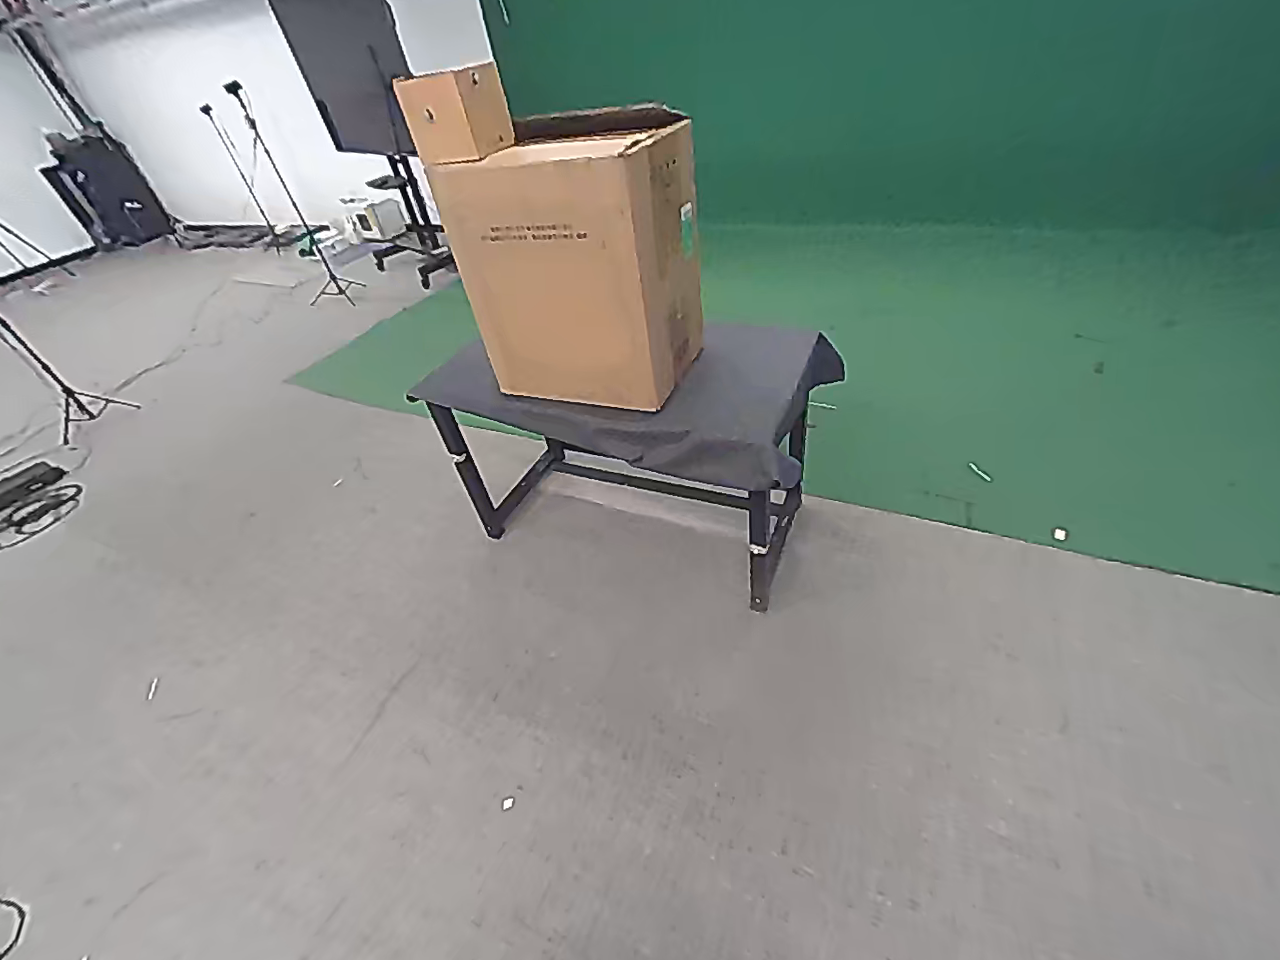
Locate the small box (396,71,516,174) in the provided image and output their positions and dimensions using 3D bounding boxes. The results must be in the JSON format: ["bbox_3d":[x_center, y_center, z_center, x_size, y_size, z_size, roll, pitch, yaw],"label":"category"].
[{"bbox_3d":[-0.425,-0.840,1.278,0.179,0.176,0.168,8,44,23],"label":"small box"}]
